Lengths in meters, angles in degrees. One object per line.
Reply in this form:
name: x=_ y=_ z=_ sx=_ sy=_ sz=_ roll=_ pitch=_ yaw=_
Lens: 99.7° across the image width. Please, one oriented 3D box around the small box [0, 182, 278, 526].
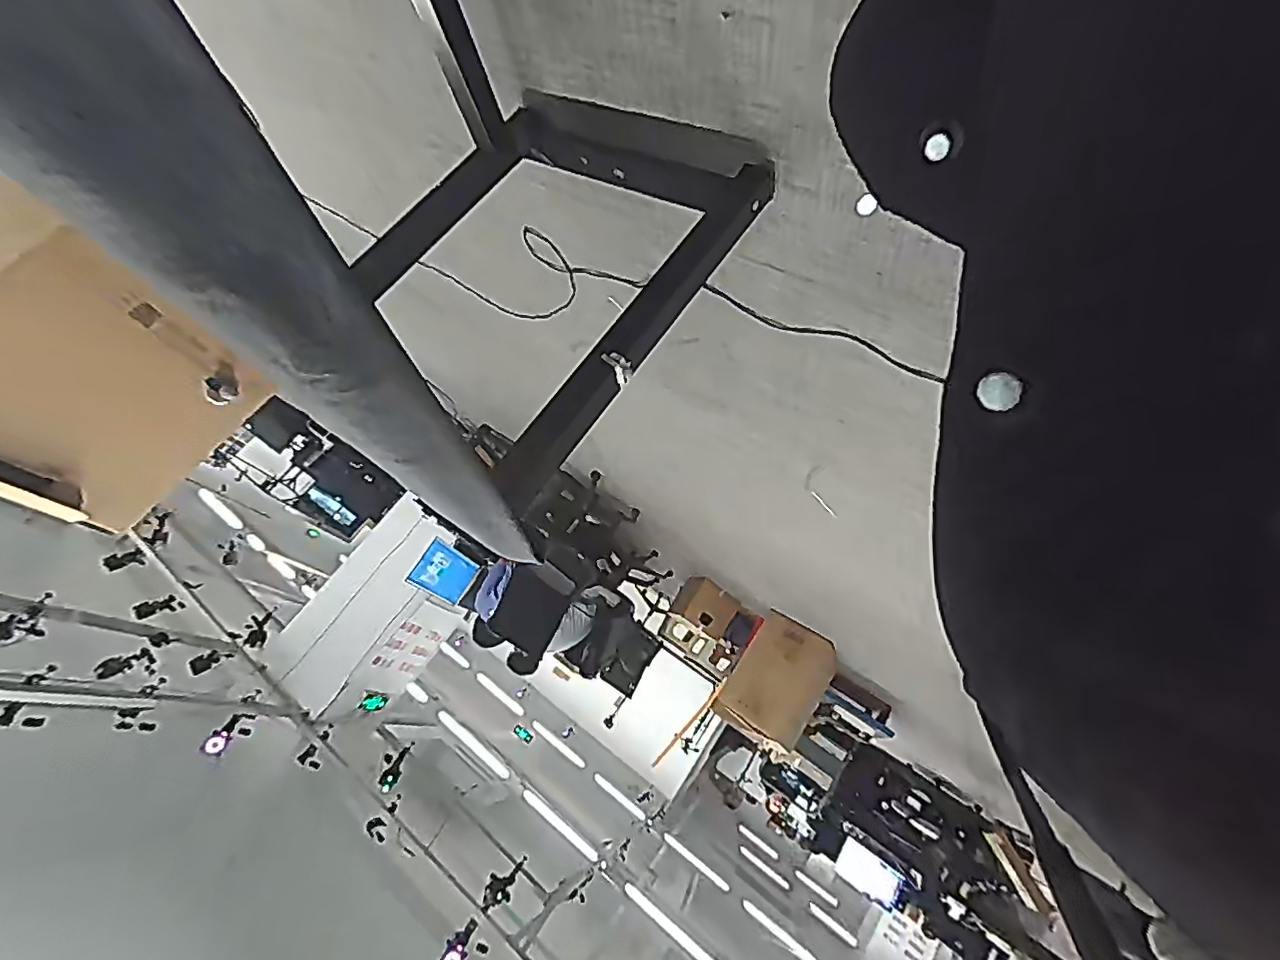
small box: x=-0.435 y=-0.099 z=0.425 sx=0.179 sy=0.176 sz=0.168 roll=31 pitch=163 yaw=27
